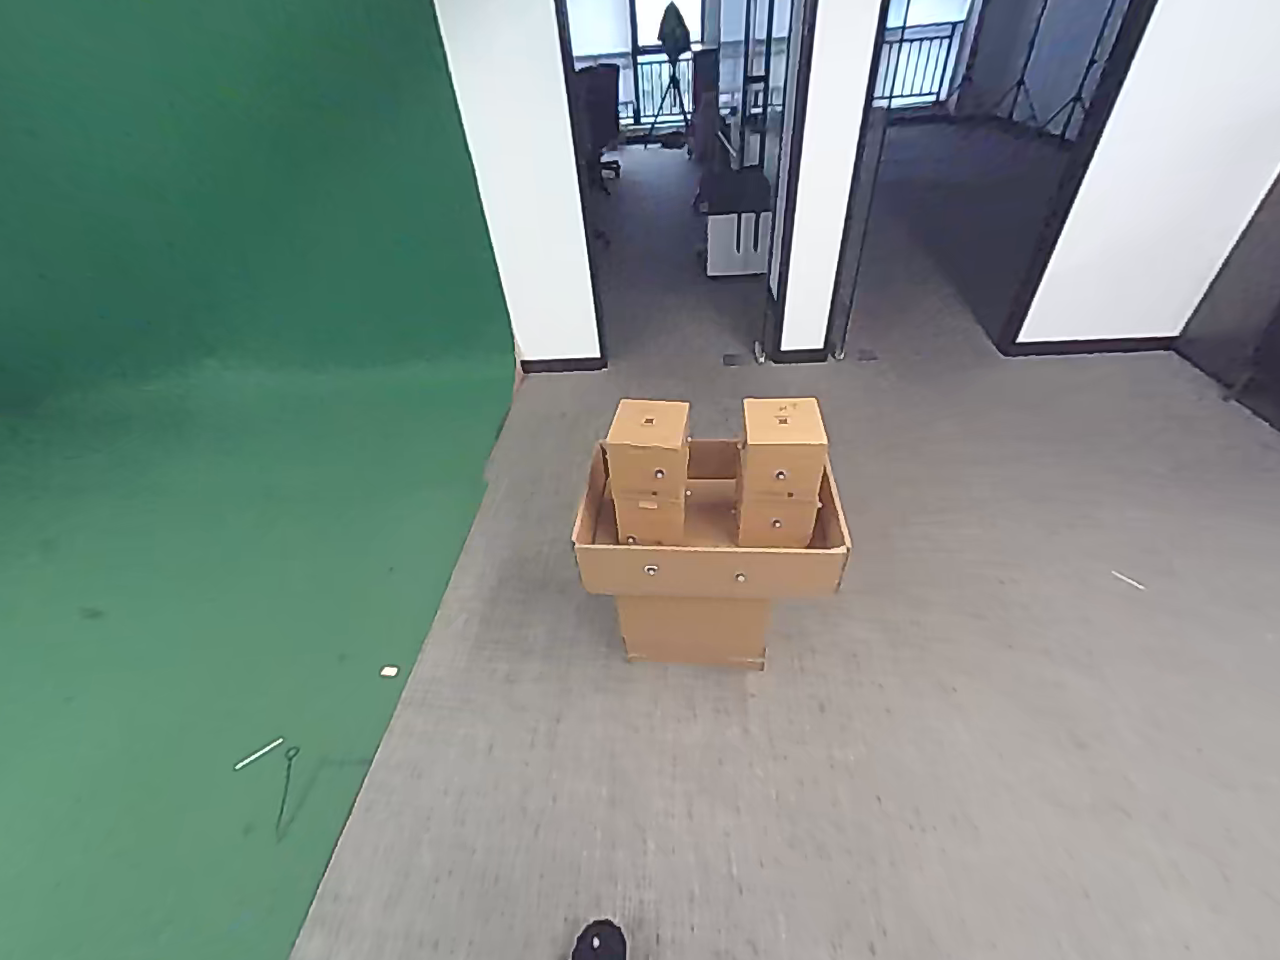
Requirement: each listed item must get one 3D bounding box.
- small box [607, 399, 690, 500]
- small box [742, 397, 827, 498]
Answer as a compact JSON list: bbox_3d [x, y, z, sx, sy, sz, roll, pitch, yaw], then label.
[{"bbox_3d":[0.028,-0.071,1.271,0.168,0.176,0.179,5,41,10],"label":"small box"},{"bbox_3d":[0.323,-0.072,1.236,0.168,0.176,0.179,1,41,7],"label":"small box"}]
